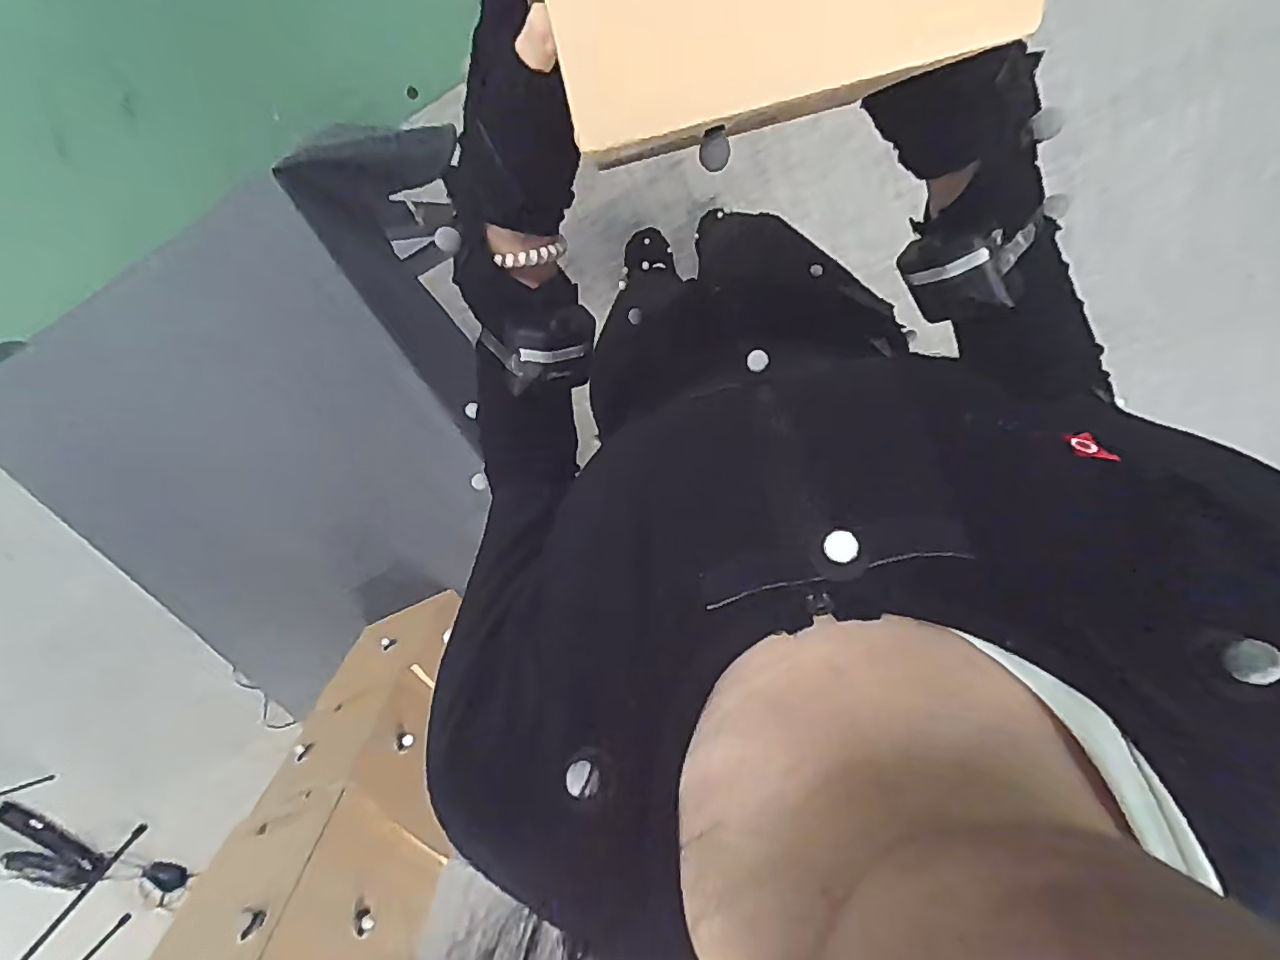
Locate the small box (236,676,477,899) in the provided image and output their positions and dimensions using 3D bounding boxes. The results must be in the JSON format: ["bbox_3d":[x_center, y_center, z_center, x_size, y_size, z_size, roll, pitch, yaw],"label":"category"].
[{"bbox_3d":[-0.339,0.376,0.686,0.168,0.176,0.179,-26,113,13],"label":"small box"}]

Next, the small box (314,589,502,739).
[{"bbox_3d":[-0.339,0.301,0.830,0.179,0.176,0.168,-25,114,10],"label":"small box"}]

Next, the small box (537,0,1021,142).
[{"bbox_3d":[0.034,-0.256,0.222,0.168,0.176,0.179,-12,116,5],"label":"small box"}]
